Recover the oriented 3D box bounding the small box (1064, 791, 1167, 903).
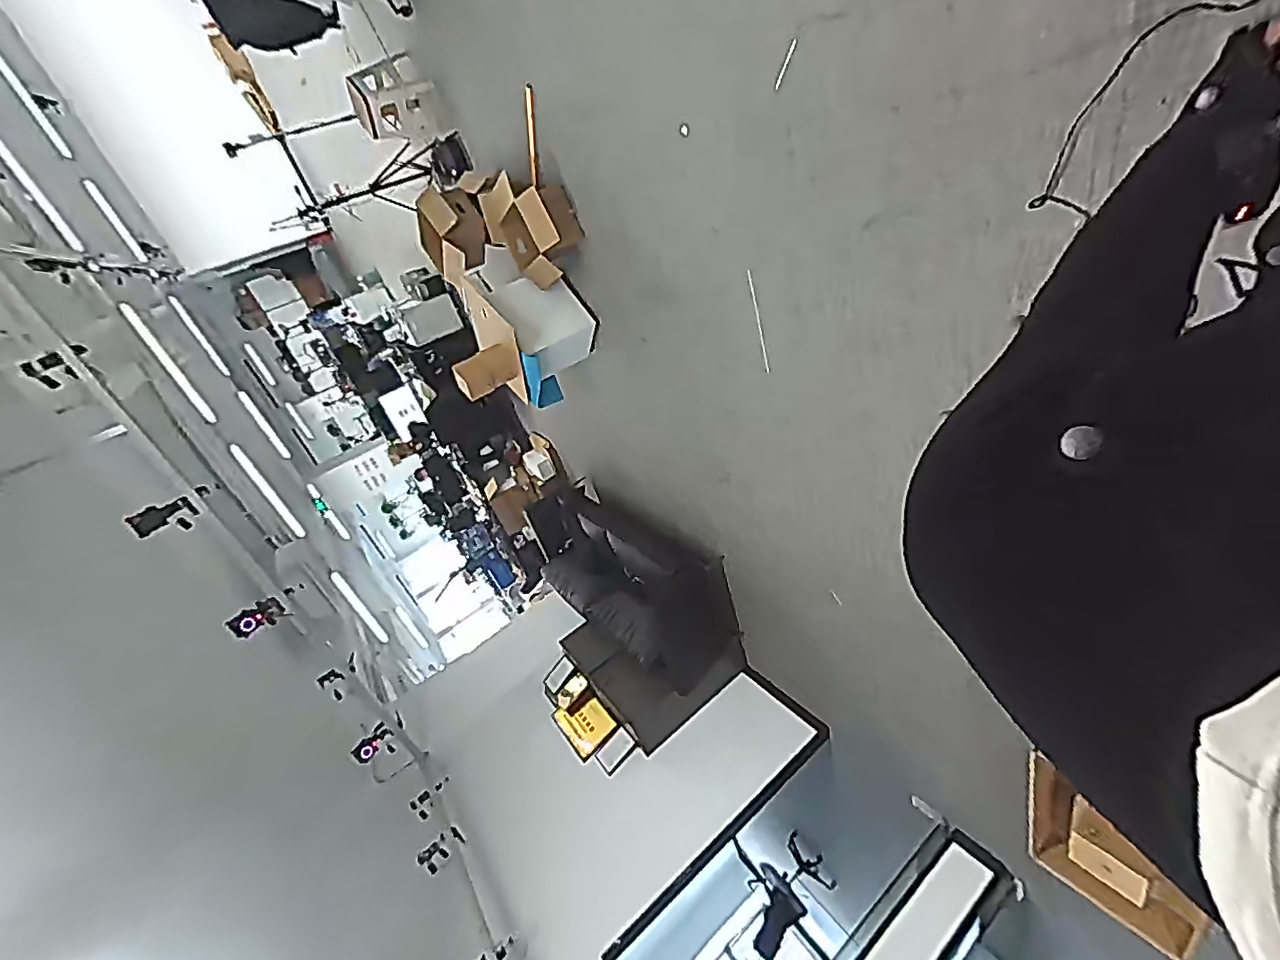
[{"bbox_3d":[1.363,1.044,1.552,0.179,0.176,0.168,25,143,53],"label":"small box"}]
